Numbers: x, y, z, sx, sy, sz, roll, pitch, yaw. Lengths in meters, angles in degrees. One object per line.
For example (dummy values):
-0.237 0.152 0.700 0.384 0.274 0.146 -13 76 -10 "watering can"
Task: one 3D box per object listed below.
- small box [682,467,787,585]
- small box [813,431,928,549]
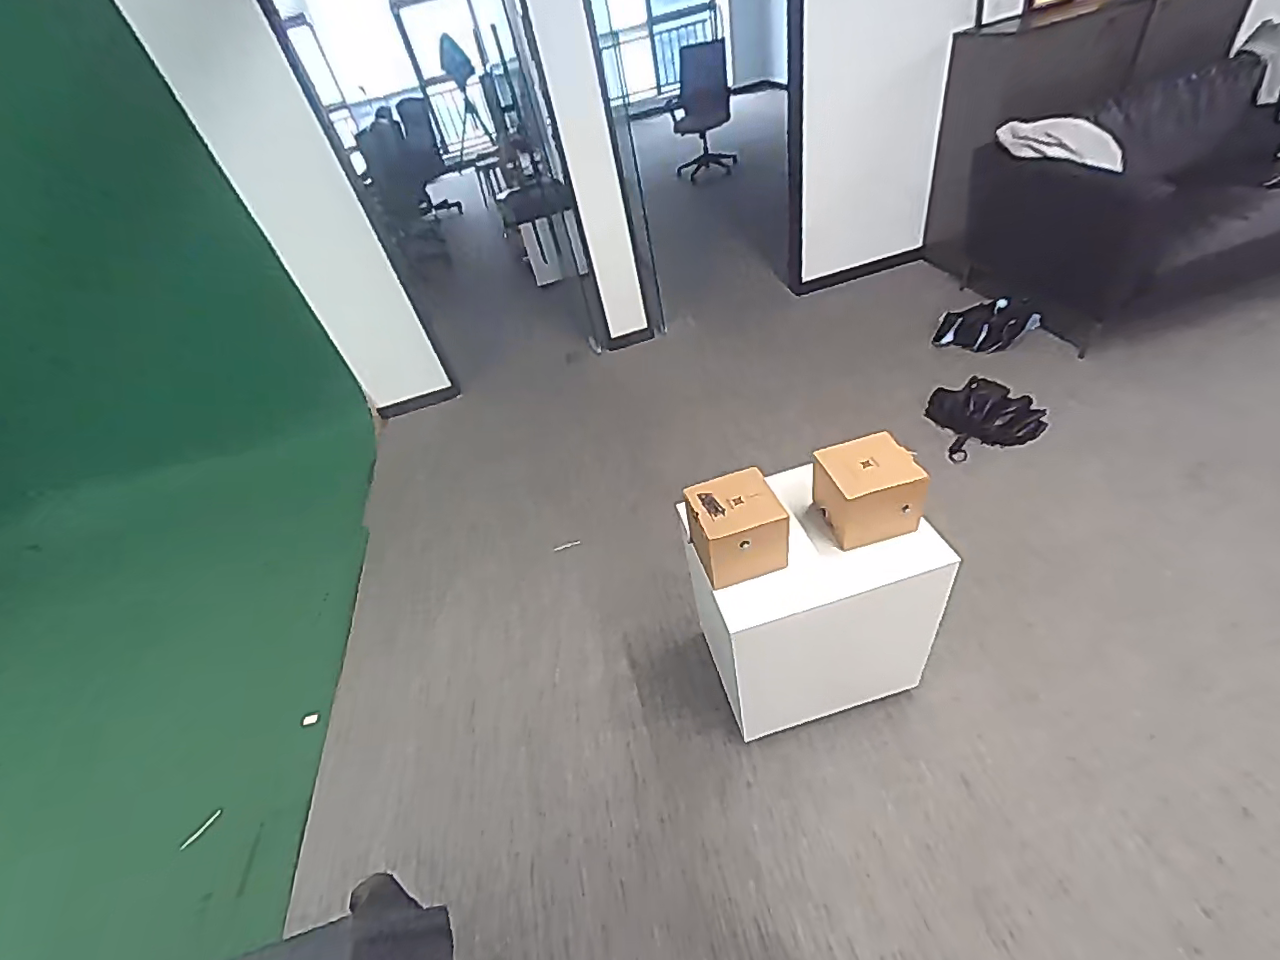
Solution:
0.206 0.103 1.177 0.179 0.176 0.168 -16 42 -5 "small box"
0.494 0.024 1.188 0.179 0.176 0.168 -16 41 0 "small box"
